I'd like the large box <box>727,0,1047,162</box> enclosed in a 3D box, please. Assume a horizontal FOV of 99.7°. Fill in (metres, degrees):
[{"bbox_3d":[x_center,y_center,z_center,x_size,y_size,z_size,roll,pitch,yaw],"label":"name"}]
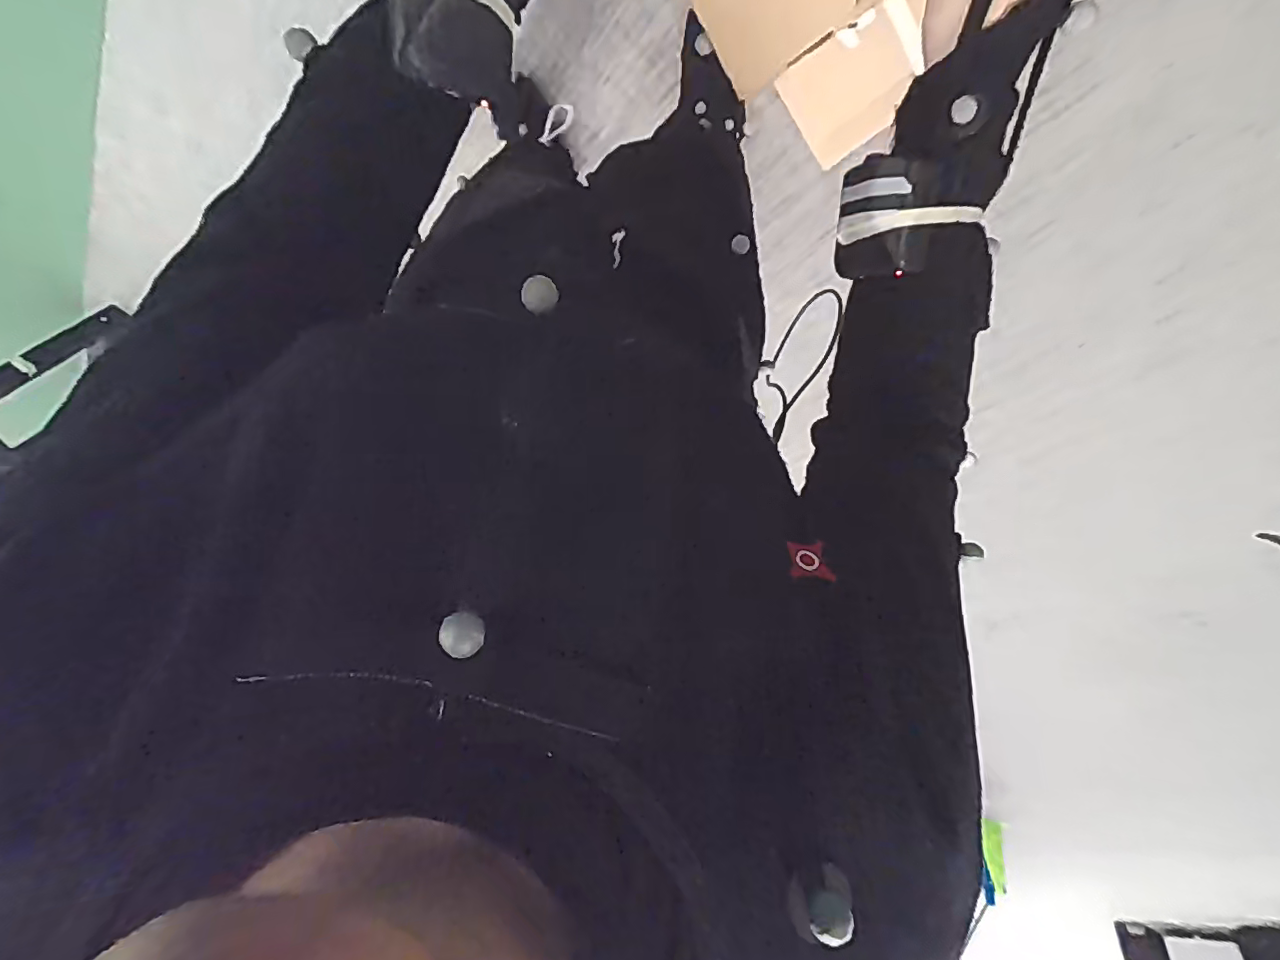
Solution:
[{"bbox_3d":[0.284,-0.742,0.714,0.320,0.320,0.408,-25,125,37],"label":"large box"}]
